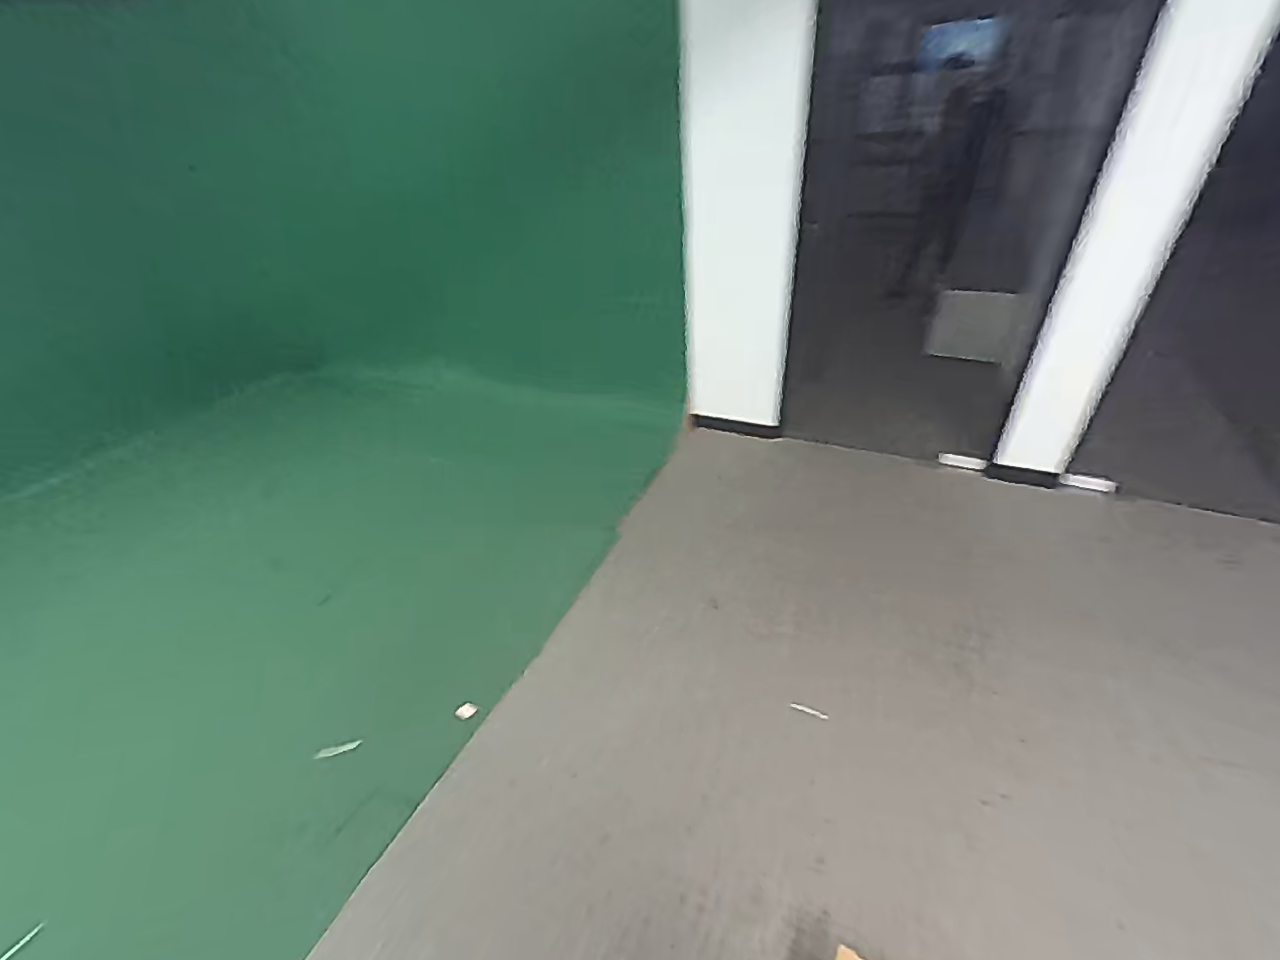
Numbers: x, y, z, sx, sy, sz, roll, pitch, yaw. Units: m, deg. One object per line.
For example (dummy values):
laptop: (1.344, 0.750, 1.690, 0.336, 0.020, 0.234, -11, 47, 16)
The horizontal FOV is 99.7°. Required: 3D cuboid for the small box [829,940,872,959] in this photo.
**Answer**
small box: (0.413, 1.024, 1.005, 0.168, 0.176, 0.179, 19, 43, 28)
